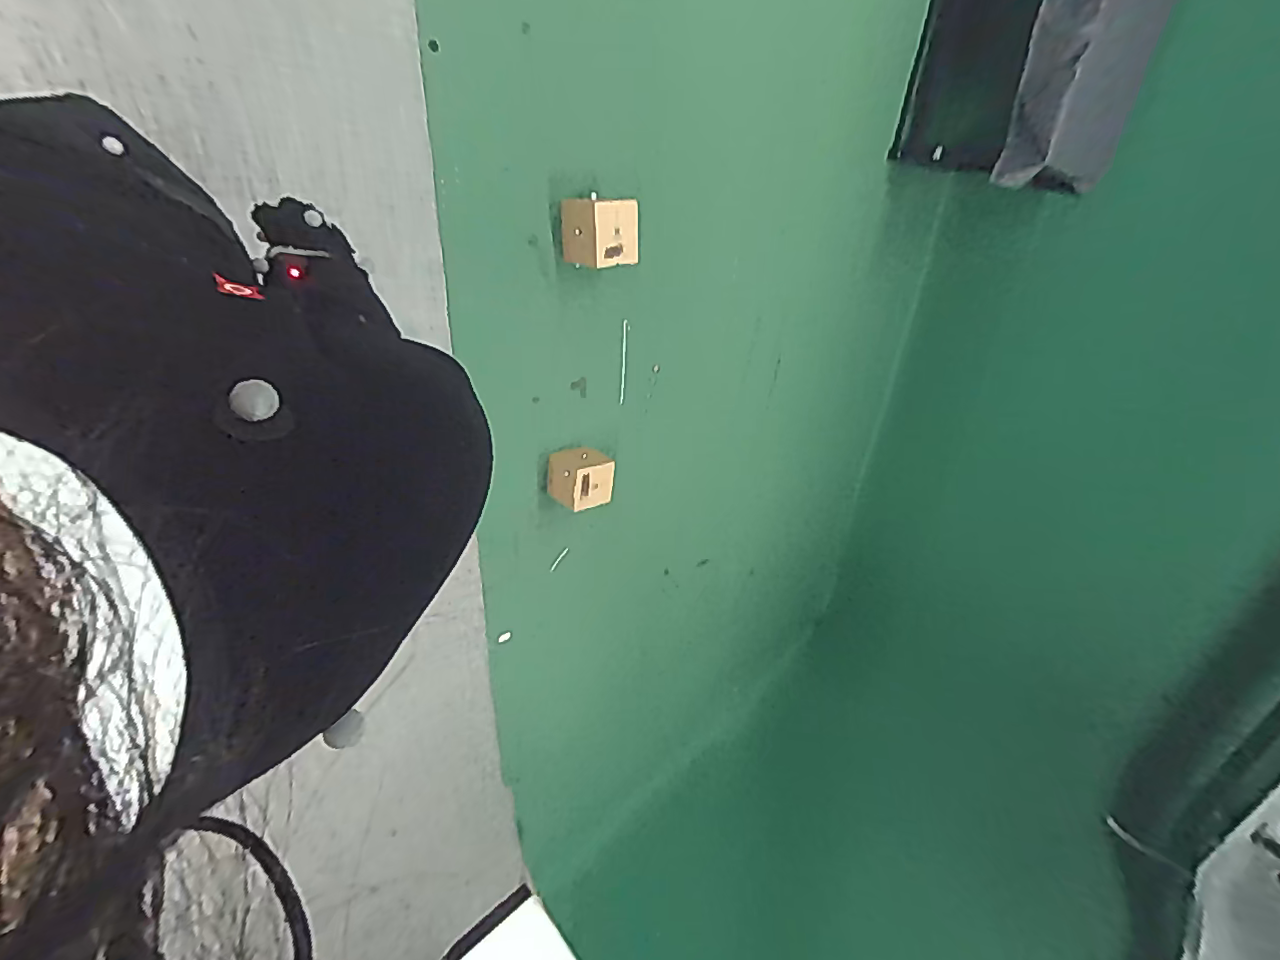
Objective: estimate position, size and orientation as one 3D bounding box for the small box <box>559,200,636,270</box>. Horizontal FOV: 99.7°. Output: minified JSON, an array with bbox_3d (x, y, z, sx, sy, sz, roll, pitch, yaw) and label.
[{"bbox_3d":[-0.129,-0.747,1.637,0.168,0.176,0.179,-25,127,-36],"label":"small box"}]
